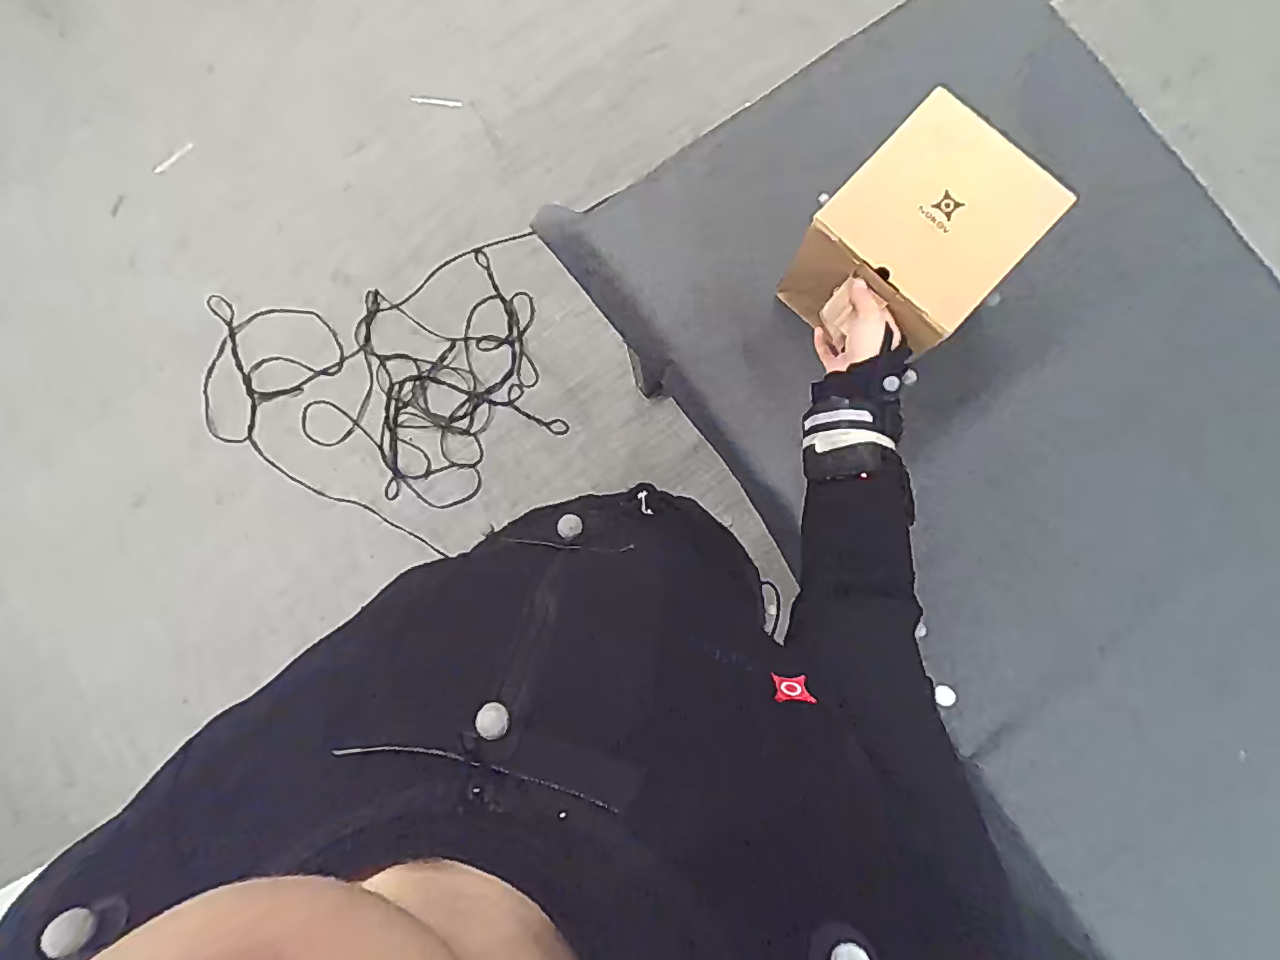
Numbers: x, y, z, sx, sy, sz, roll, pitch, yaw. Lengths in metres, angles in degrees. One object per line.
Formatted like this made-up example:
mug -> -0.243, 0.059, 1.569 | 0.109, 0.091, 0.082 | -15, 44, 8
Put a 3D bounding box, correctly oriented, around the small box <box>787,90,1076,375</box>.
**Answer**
small box -> 0.283, -0.241, 0.573 | 0.168, 0.176, 0.179 | 42, 89, 4
